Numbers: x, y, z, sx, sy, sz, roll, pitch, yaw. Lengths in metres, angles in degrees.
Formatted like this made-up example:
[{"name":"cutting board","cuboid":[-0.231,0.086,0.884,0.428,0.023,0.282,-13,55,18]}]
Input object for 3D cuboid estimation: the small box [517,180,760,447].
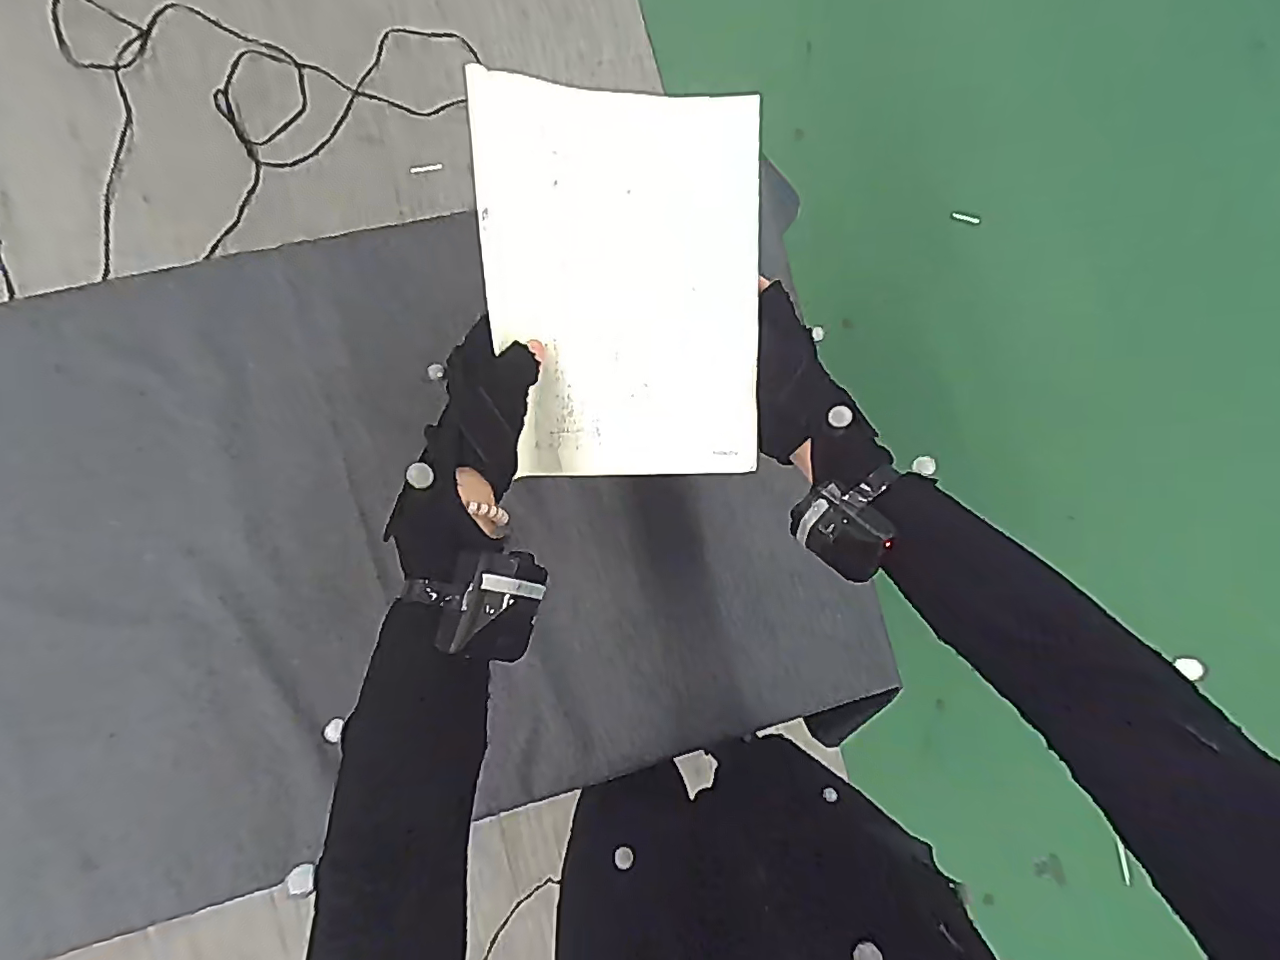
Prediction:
[{"name":"small box","cuboid":[-0.009,-0.135,0.496,0.168,0.176,0.179,-11,90,-6]}]
